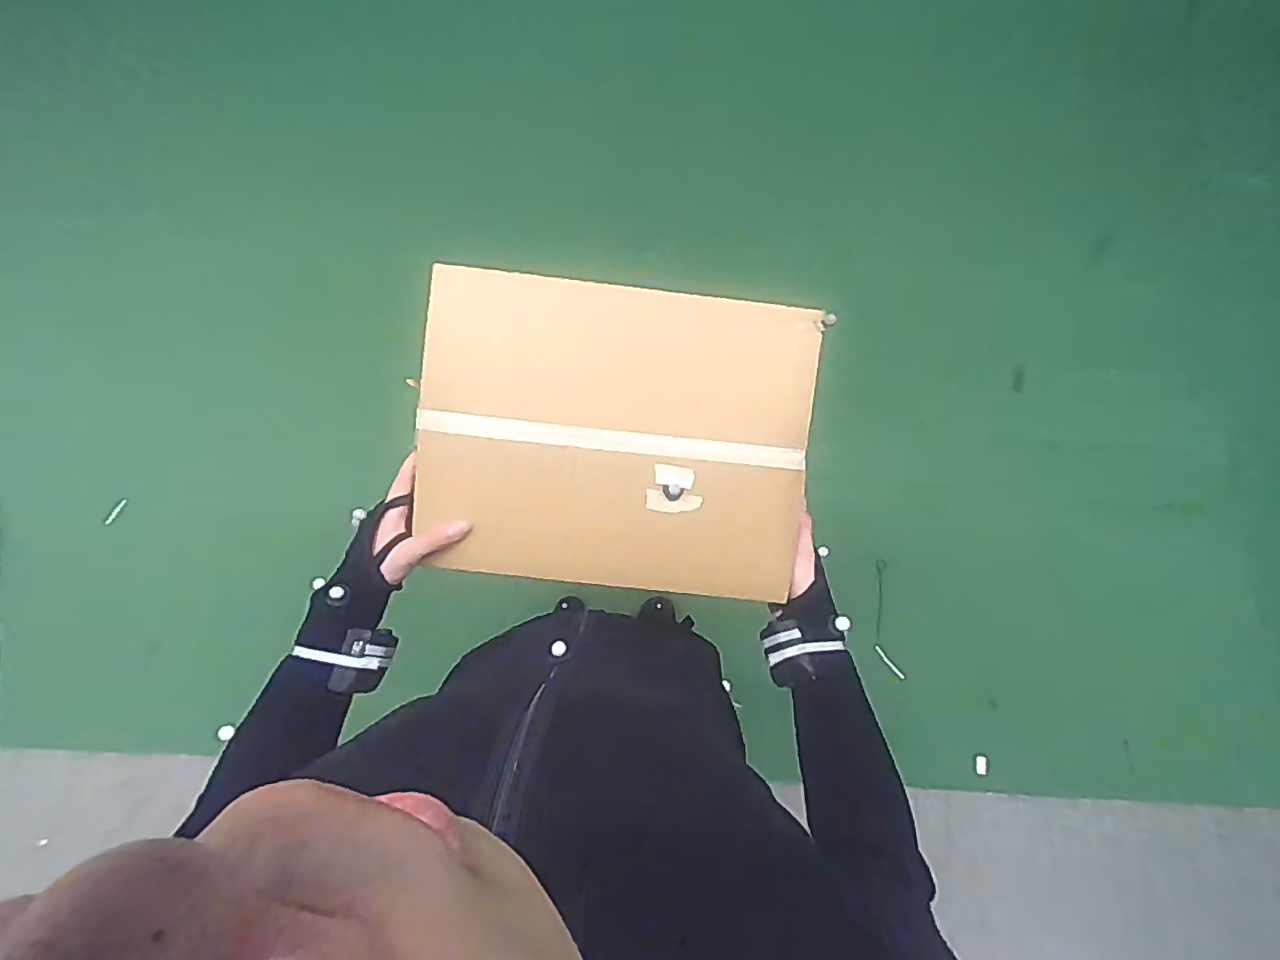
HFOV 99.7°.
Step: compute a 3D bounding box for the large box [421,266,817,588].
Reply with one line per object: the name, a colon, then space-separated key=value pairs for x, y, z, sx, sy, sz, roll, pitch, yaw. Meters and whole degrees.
large box: x=-0.030 y=-0.061 z=0.722 sx=0.408 sy=0.320 sz=0.320 roll=6 pitch=95 yaw=-3
